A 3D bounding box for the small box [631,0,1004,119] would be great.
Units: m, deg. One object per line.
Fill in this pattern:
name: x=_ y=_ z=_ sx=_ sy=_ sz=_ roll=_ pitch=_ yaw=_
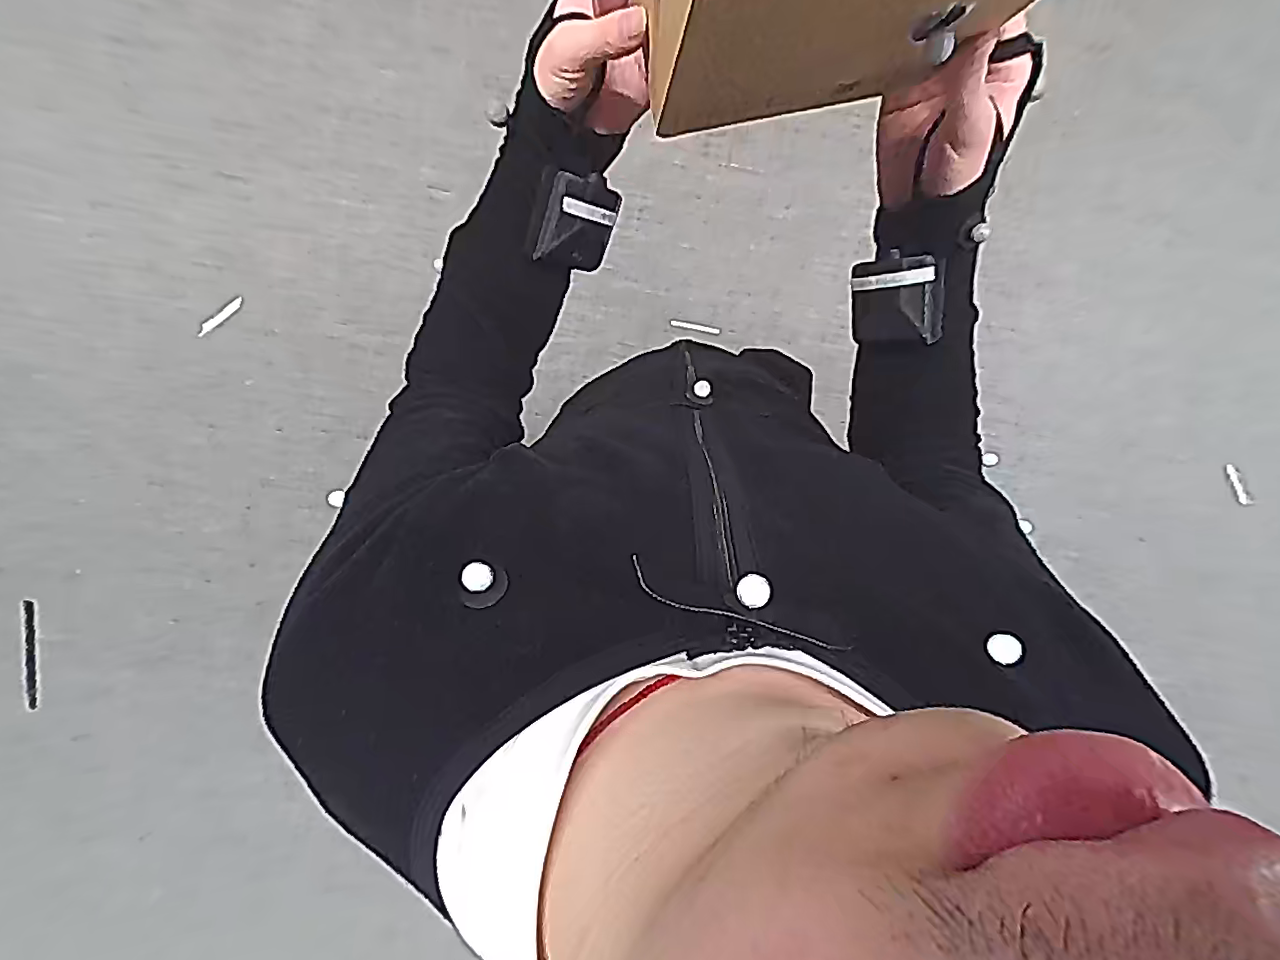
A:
small box: x=0.079 y=-0.284 z=0.230 sx=0.168 sy=0.176 sz=0.179 roll=-12 pitch=105 yaw=-2
